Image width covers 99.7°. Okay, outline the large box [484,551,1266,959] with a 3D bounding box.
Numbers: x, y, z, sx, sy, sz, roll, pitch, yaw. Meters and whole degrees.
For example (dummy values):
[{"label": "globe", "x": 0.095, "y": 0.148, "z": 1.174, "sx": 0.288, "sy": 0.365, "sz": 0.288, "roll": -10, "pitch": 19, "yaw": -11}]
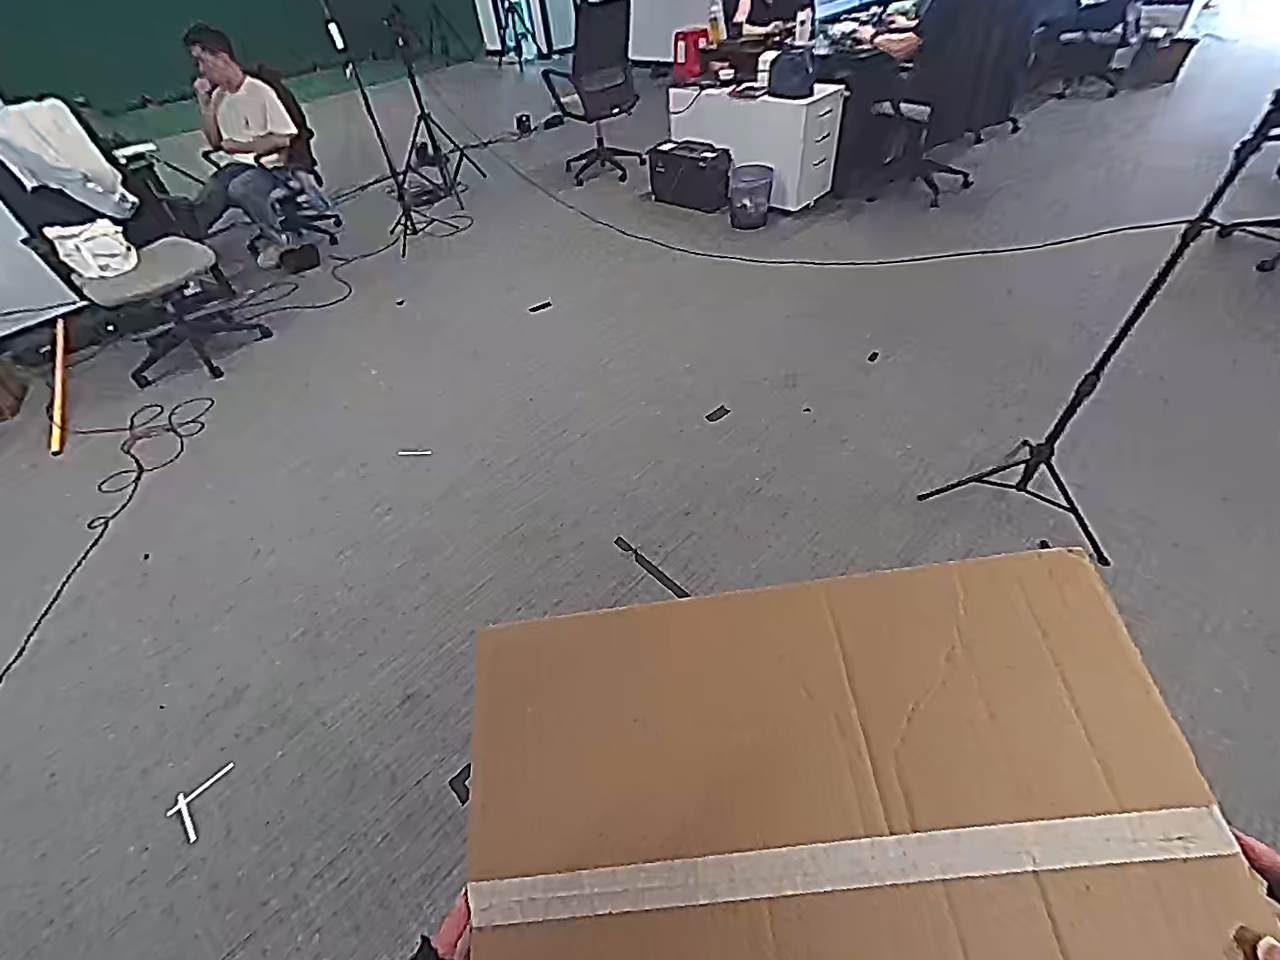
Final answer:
[{"label": "large box", "x": 0.123, "y": 0.279, "z": 0.437, "sx": 0.408, "sy": 0.320, "sz": 0.320, "roll": -9, "pitch": 64, "yaw": 5}]
